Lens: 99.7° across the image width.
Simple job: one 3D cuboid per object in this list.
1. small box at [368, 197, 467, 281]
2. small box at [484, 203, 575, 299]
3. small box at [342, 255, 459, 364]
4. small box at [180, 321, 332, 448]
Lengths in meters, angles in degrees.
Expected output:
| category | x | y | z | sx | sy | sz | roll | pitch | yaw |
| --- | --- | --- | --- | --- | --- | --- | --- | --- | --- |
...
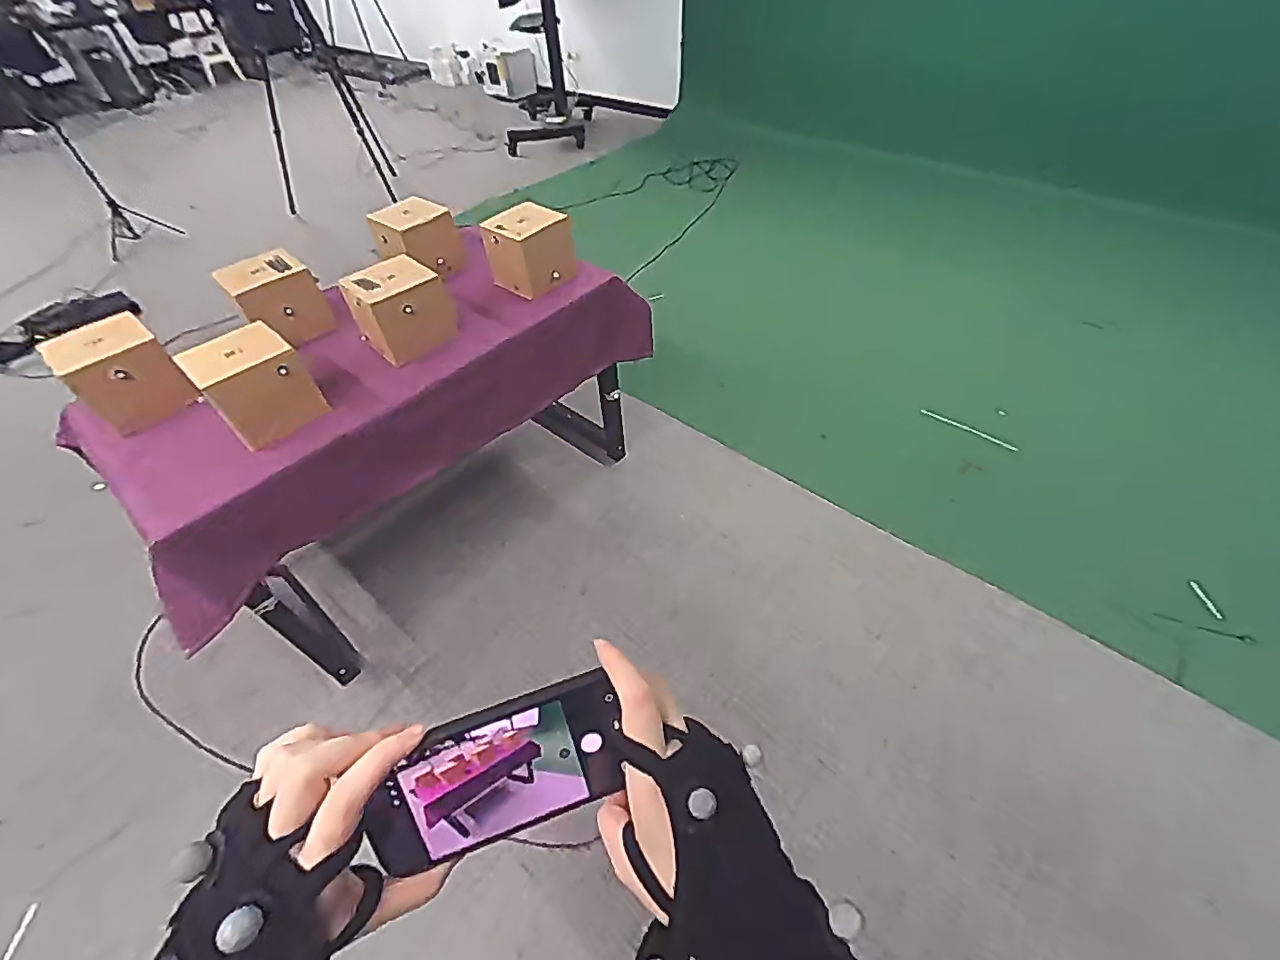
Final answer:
| category | x | y | z | sx | sy | sz | roll | pitch | yaw |
| --- | --- | --- | --- | --- | --- | --- | --- | --- | --- |
| small box | -0.626 | -0.677 | 1.540 | 0.179 | 0.176 | 0.168 | 30 | 57 | 26 |
| small box | -0.292 | -0.623 | 1.473 | 0.168 | 0.176 | 0.179 | 31 | 57 | 28 |
| small box | -0.567 | -0.408 | 1.300 | 0.168 | 0.176 | 0.179 | 36 | 58 | 29 |
| small box | -0.791 | -0.196 | 1.127 | 0.168 | 0.176 | 0.179 | 34 | 57 | 29 |
